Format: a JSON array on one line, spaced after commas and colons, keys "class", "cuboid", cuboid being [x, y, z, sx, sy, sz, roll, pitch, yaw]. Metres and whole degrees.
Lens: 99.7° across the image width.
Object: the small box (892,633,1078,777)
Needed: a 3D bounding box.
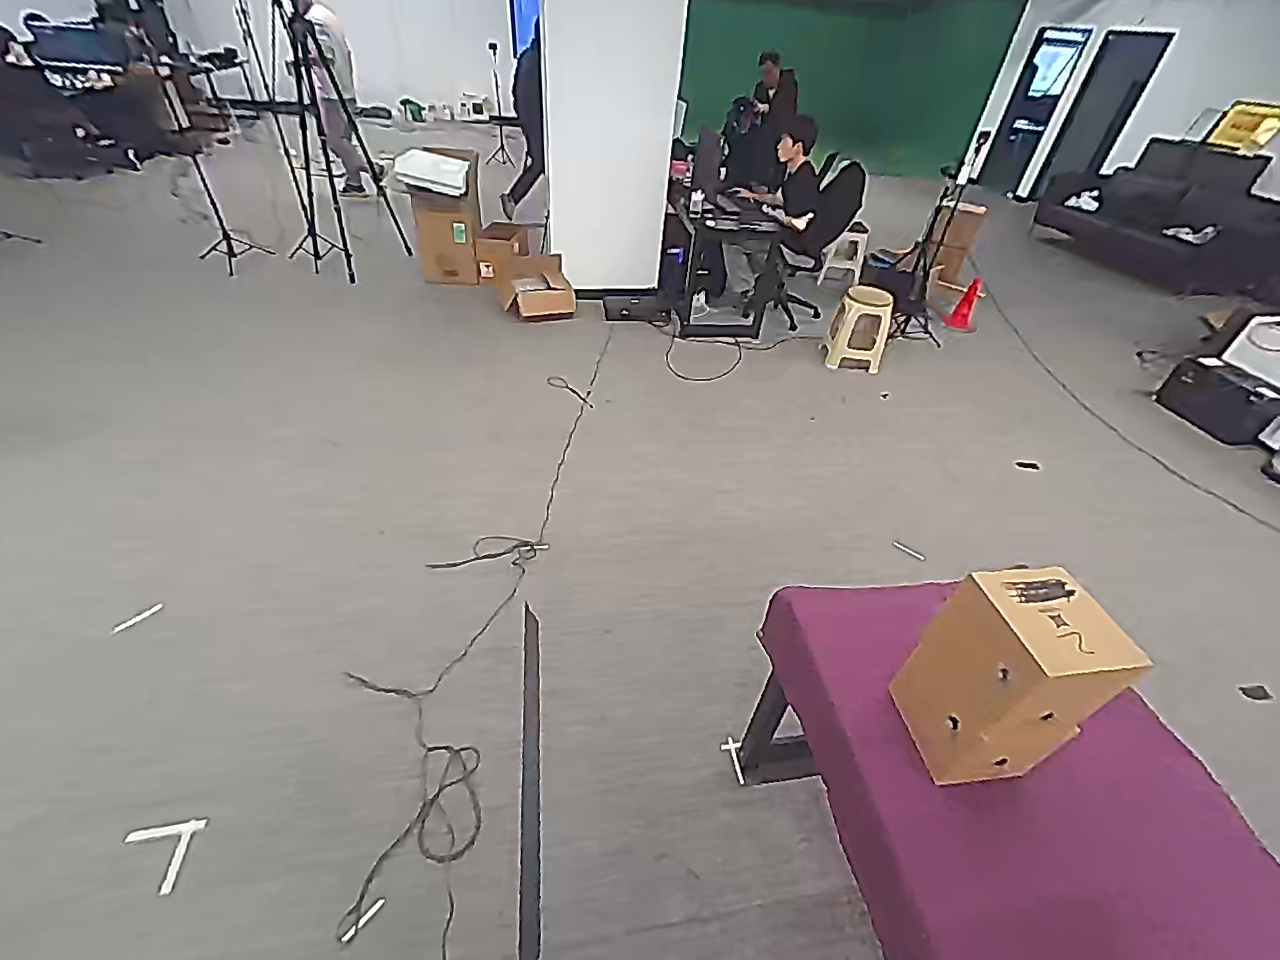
[{"class": "small box", "cuboid": [0.565, 0.384, 0.915, 0.168, 0.176, 0.179, -1, 41, -8]}]
